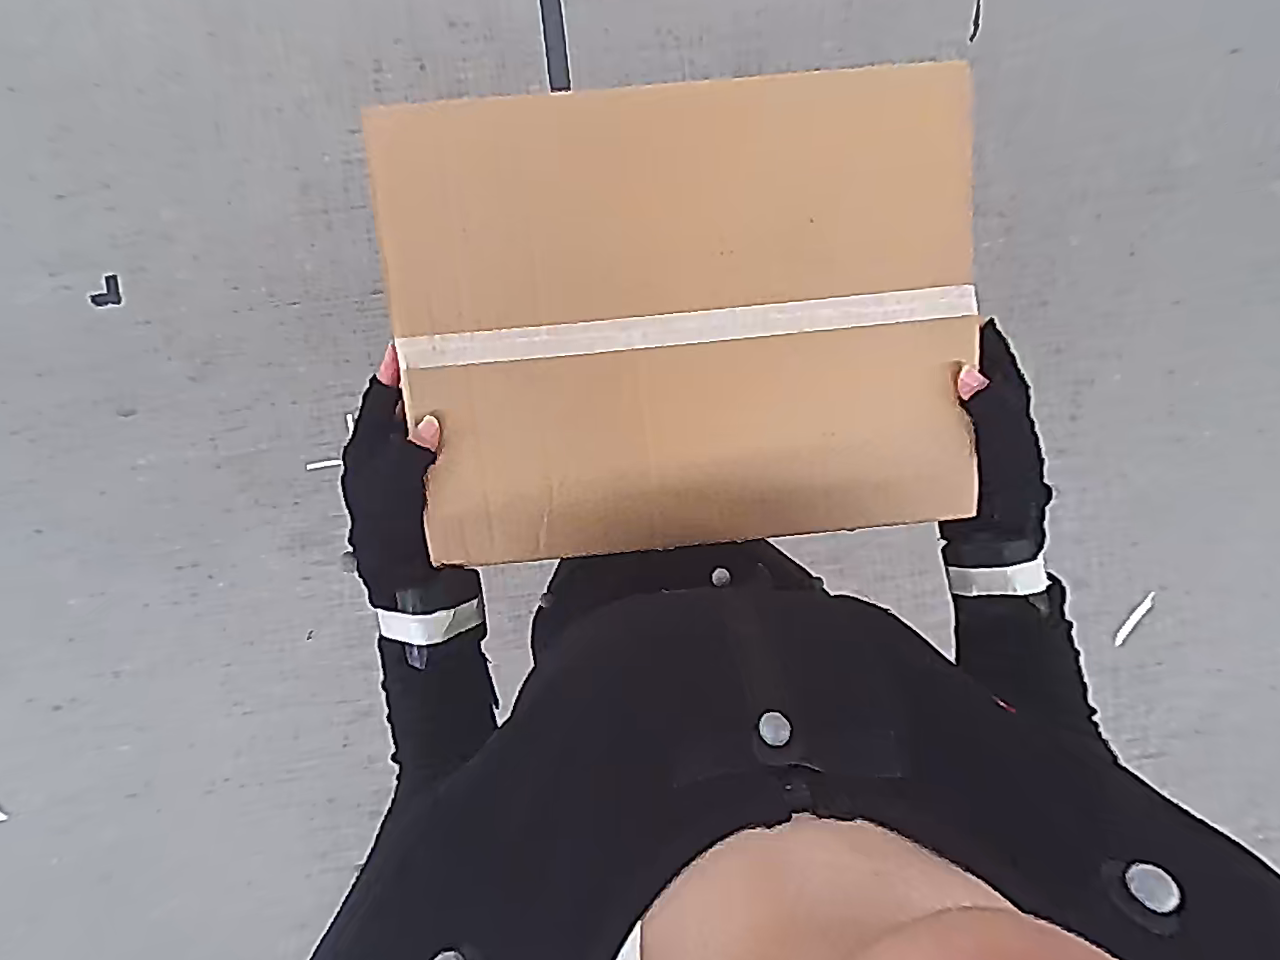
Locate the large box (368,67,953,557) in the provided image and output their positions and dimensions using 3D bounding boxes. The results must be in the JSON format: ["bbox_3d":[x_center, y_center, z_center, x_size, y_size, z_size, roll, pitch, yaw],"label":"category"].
[{"bbox_3d":[0.024,-0.136,0.534,0.408,0.320,0.320,-5,98,-2],"label":"large box"}]
